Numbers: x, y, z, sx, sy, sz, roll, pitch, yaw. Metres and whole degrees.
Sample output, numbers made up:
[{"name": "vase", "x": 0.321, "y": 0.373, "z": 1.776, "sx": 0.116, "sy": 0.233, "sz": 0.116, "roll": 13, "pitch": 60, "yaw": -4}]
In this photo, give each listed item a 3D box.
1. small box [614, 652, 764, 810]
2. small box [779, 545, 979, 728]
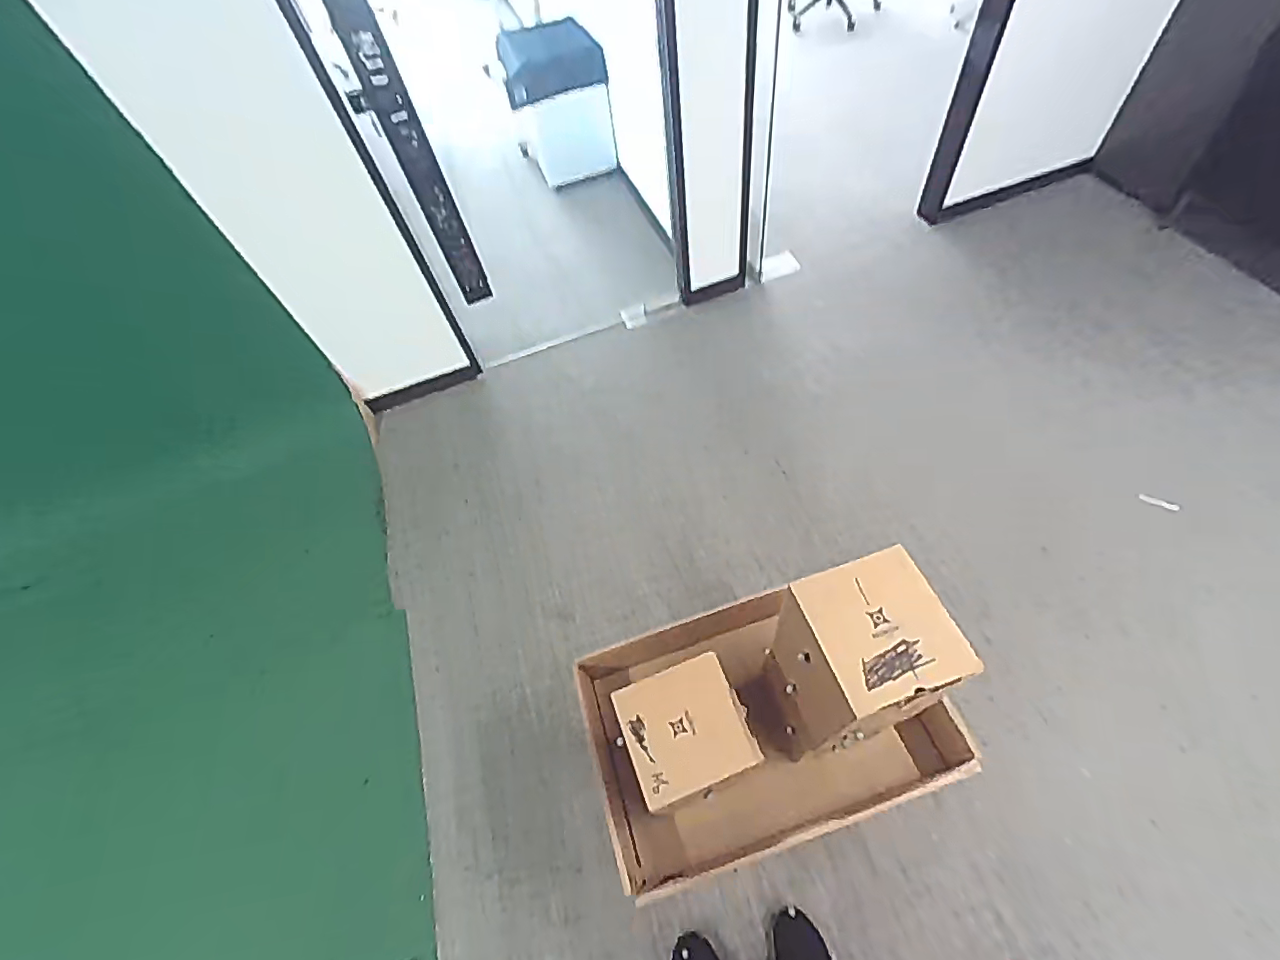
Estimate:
[{"name": "small box", "x": 0.073, "y": 0.396, "z": 0.847, "sx": 0.179, "sy": 0.176, "sz": 0.168, "roll": -20, "pitch": 57, "yaw": -6}, {"name": "small box", "x": 0.303, "y": 0.219, "z": 0.732, "sx": 0.168, "sy": 0.176, "sz": 0.179, "roll": -18, "pitch": 56, "yaw": -4}]
